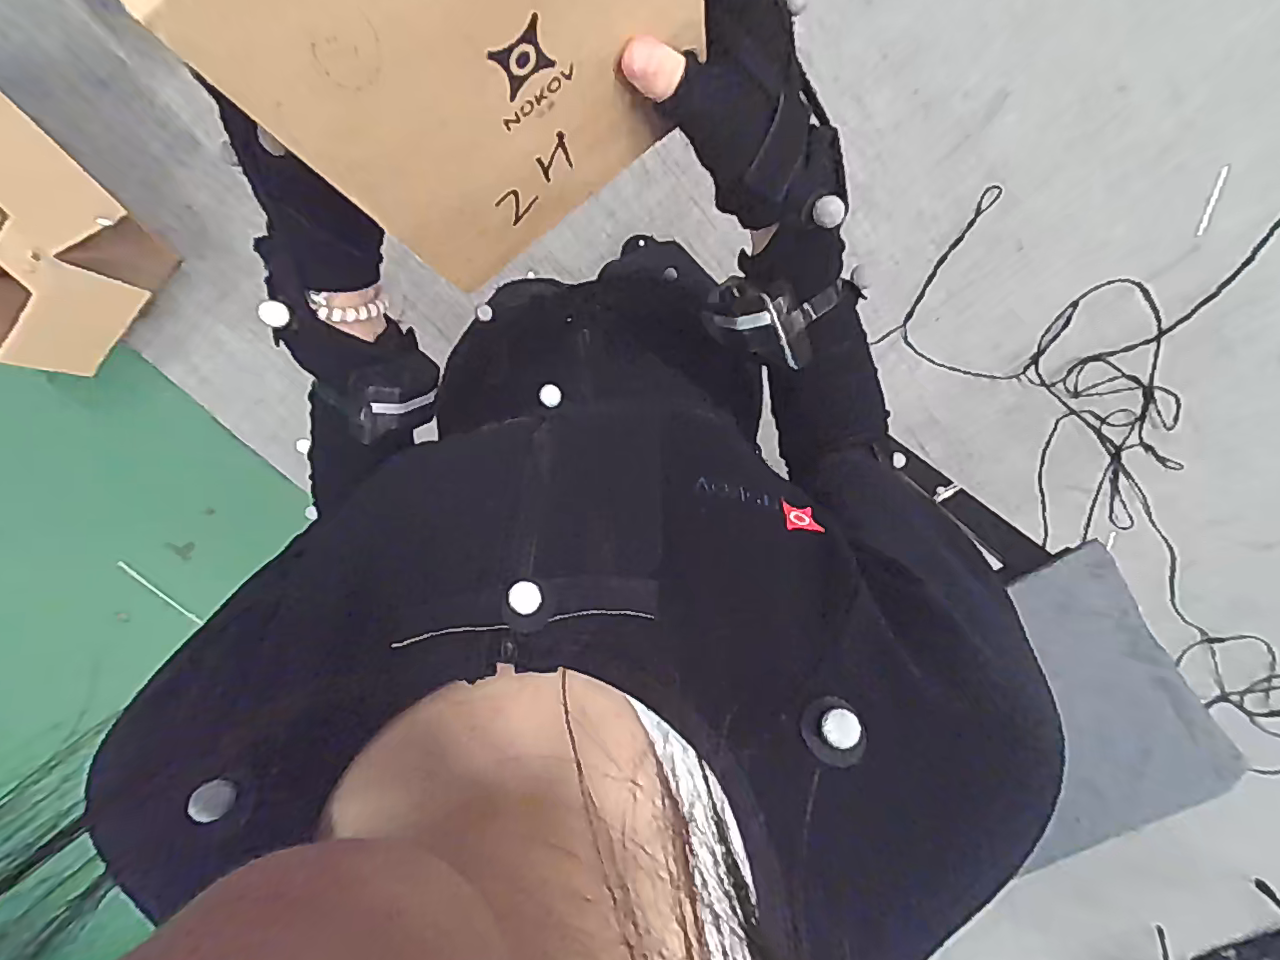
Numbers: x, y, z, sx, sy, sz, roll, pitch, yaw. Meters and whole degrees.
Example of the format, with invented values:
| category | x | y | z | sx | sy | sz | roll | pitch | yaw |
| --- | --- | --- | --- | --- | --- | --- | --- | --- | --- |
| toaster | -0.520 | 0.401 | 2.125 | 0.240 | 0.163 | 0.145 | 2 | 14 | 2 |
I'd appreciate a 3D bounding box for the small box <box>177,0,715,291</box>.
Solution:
| category | x | y | z | sx | sy | sz | roll | pitch | yaw |
| --- | --- | --- | --- | --- | --- | --- | --- | --- | --- |
| small box | -0.086 | -0.221 | 0.217 | 0.168 | 0.179 | 0.176 | -37 | 82 | 4 |
